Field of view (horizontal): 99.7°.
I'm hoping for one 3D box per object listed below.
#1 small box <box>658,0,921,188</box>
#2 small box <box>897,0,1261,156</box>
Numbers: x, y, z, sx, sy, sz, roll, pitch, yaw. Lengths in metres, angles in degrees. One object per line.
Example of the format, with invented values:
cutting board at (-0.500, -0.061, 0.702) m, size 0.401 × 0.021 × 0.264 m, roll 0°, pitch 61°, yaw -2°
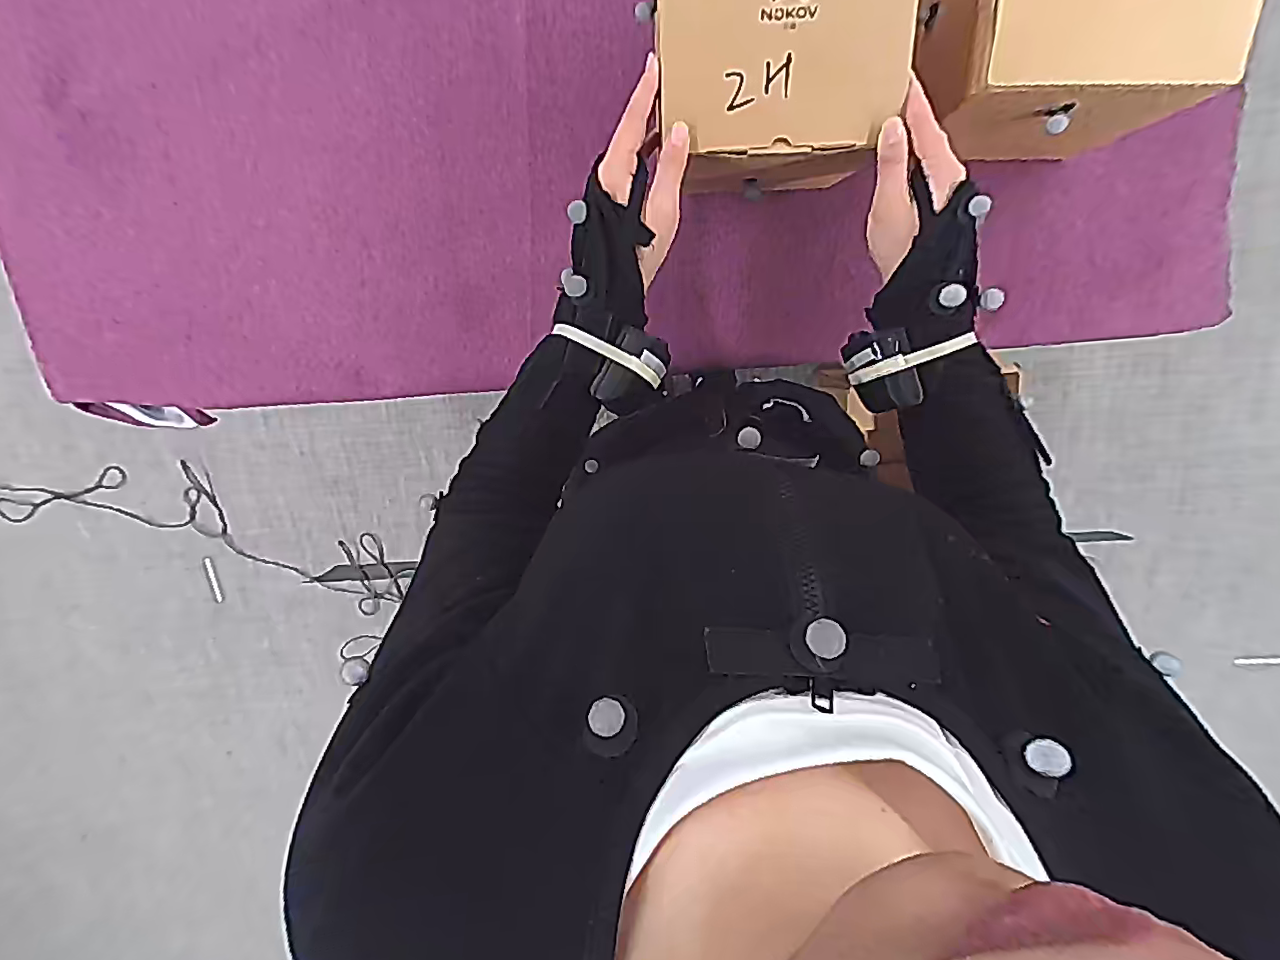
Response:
small box at (0.098, -0.339, 0.417) m, size 0.168 × 0.176 × 0.179 m, roll -1°, pitch 110°, yaw 2°
small box at (0.336, -0.378, 0.435) m, size 0.179 × 0.176 × 0.168 m, roll 1°, pitch 105°, yaw 3°
